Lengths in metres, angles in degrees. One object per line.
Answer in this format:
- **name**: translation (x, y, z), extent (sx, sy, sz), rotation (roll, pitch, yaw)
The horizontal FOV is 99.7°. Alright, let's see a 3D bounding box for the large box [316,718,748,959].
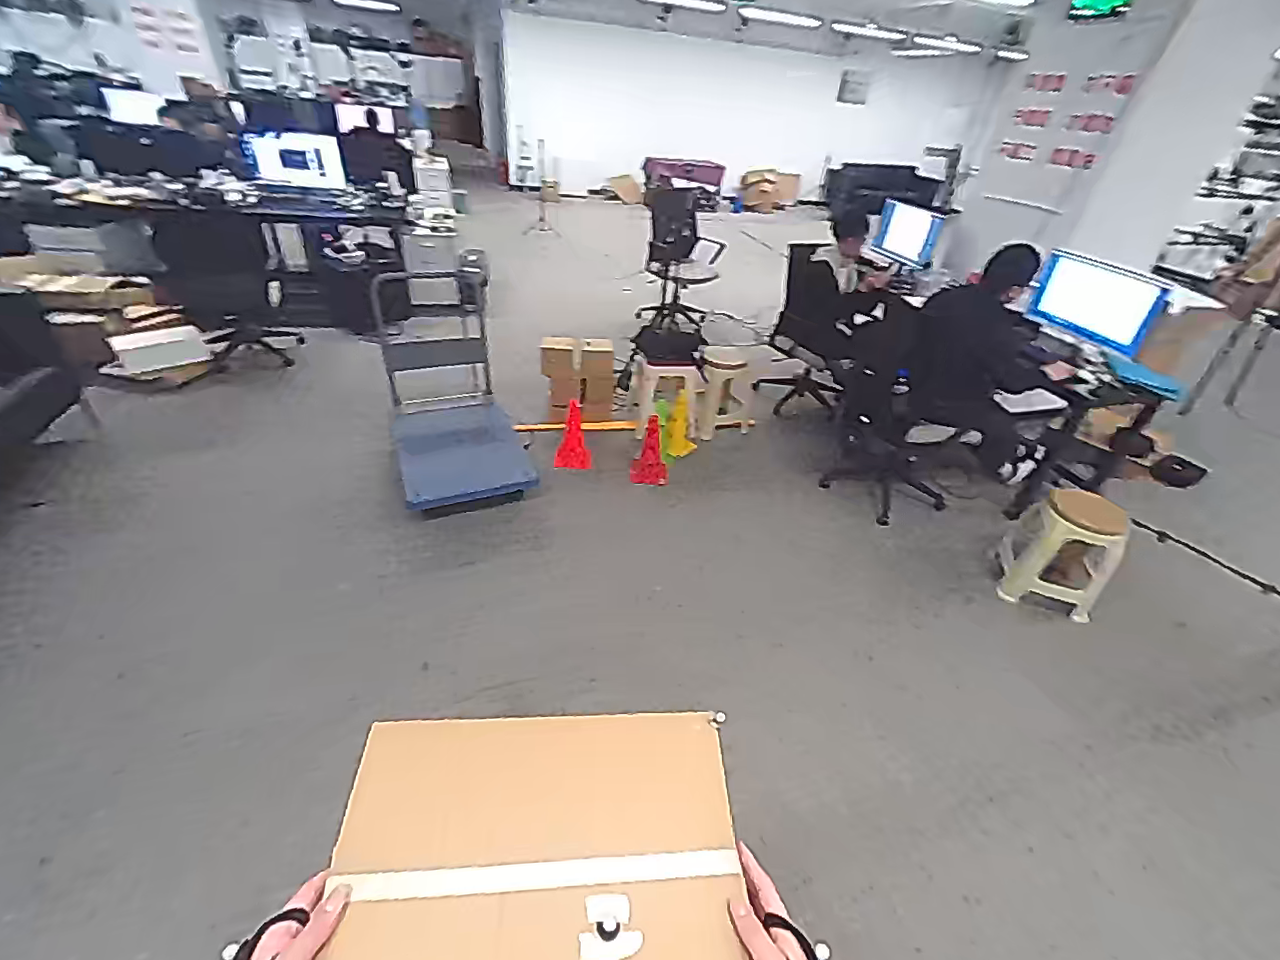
- **large box**: translation (-0.115, 0.513, 0.644), extent (0.408, 0.320, 0.320), rotation (1, 44, -7)
